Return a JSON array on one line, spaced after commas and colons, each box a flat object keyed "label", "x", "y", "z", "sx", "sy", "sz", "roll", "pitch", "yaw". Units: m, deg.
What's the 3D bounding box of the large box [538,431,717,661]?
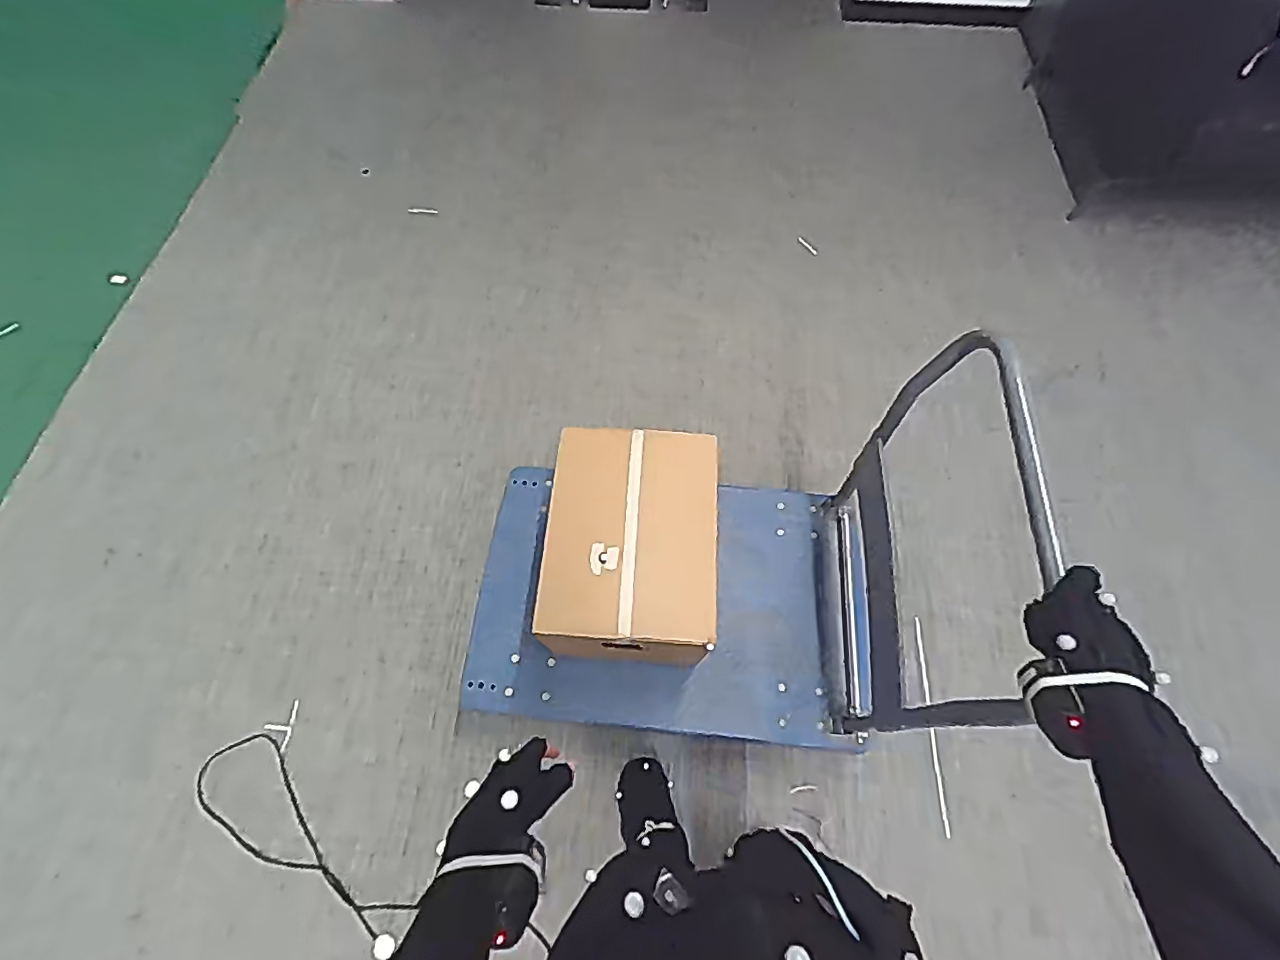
[{"label": "large box", "x": -0.014, "y": 0.147, "z": 1.132, "sx": 0.320, "sy": 0.320, "sz": 0.408, "roll": 3, "pitch": 66, "yaw": 2}]
